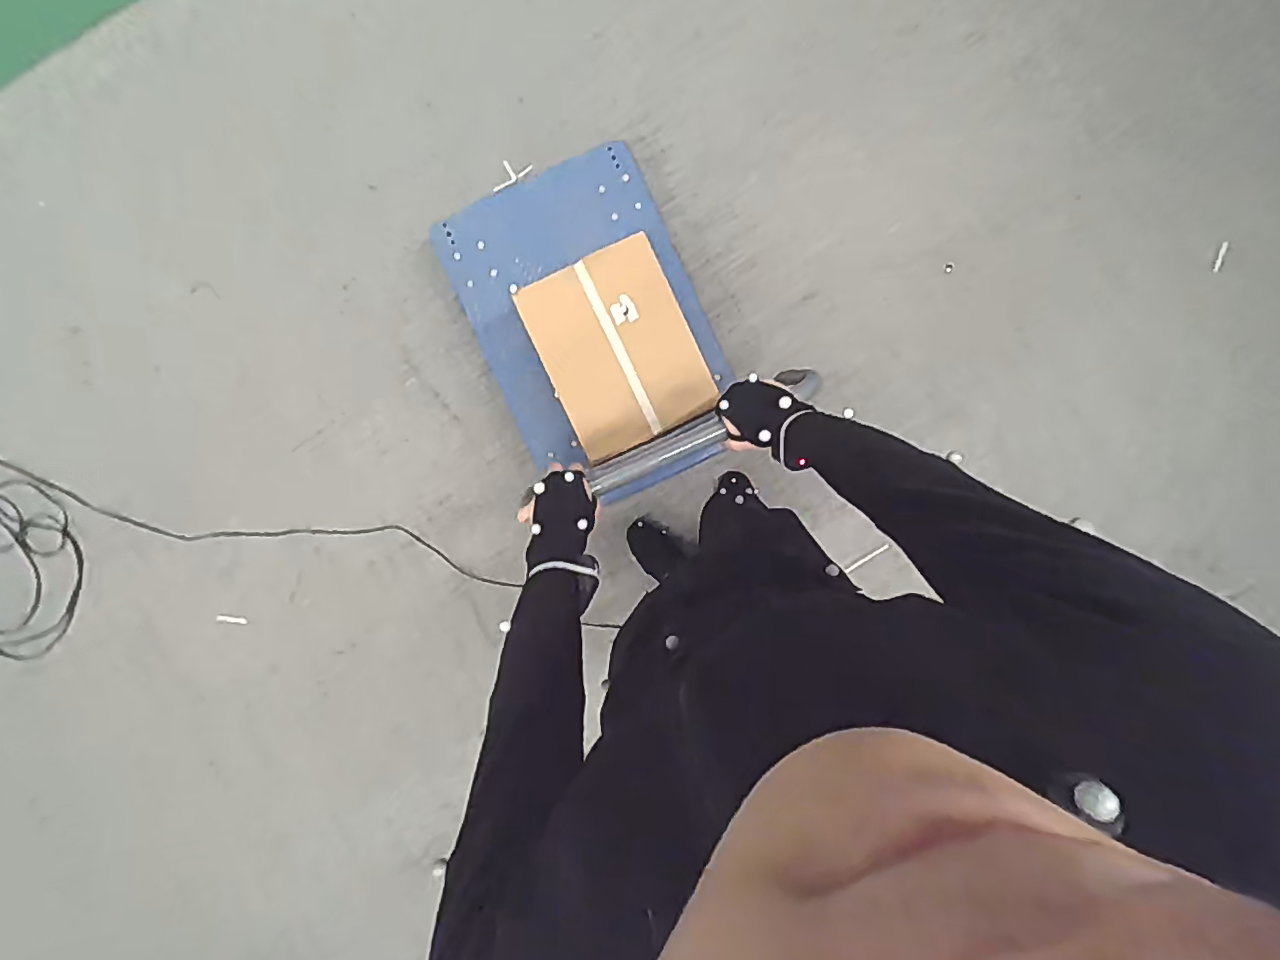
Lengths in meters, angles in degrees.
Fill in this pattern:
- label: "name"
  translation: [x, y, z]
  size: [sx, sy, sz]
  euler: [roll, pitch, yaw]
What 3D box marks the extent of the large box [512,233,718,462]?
- label: "large box"
  translation: [-0.050, -0.286, 1.298]
  size: [0.320, 0.320, 0.408]
  euler: [-25, 91, 0]
